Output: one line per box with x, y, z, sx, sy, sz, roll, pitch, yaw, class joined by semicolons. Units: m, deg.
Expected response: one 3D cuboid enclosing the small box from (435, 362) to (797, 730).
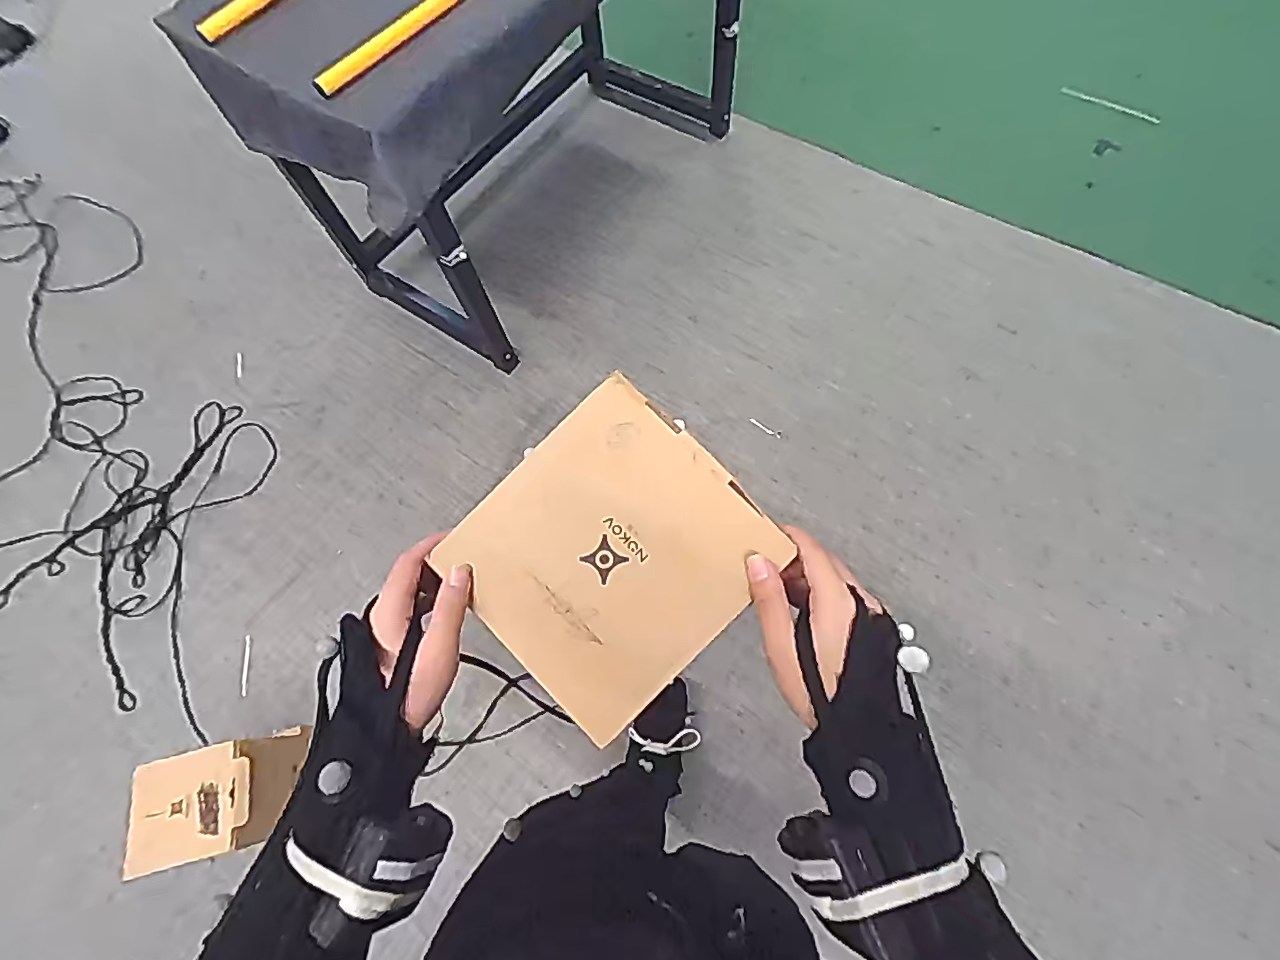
-0.012;0.045;0.420;0.168;0.176;0.179;44;90;7;small box

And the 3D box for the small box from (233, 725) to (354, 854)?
-0.708;0.615;1.098;0.168;0.176;0.179;-20;68;-4;small box

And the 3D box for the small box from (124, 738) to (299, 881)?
-0.729;0.559;0.943;0.179;0.176;0.168;-15;67;-1;small box
